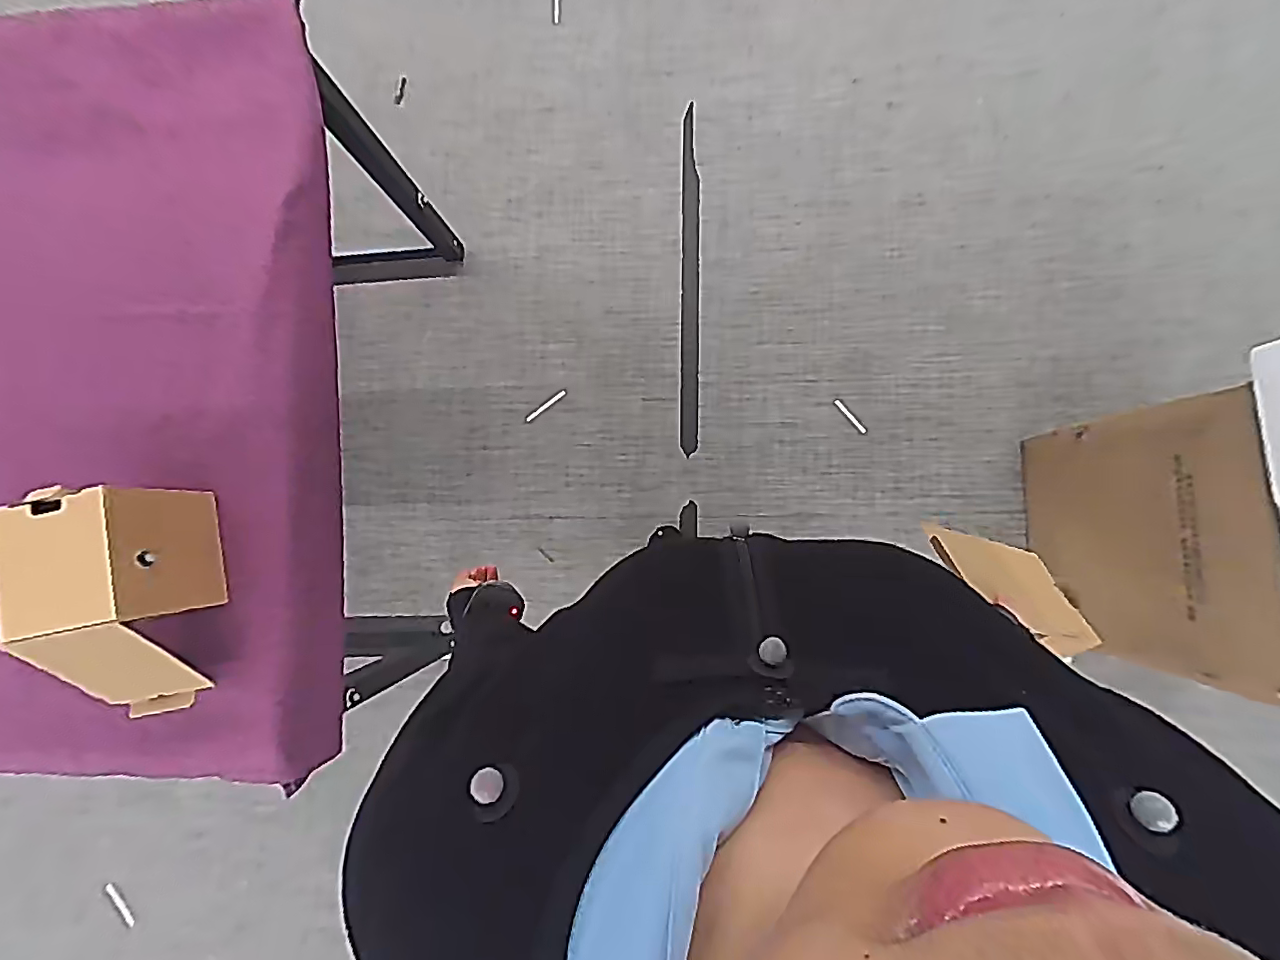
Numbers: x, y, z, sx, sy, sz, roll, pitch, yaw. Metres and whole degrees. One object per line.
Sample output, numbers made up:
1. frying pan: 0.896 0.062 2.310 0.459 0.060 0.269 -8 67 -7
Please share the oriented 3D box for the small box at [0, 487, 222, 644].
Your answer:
1. small box: -0.728 0.112 0.755 0.168 0.176 0.179 -11 84 3
